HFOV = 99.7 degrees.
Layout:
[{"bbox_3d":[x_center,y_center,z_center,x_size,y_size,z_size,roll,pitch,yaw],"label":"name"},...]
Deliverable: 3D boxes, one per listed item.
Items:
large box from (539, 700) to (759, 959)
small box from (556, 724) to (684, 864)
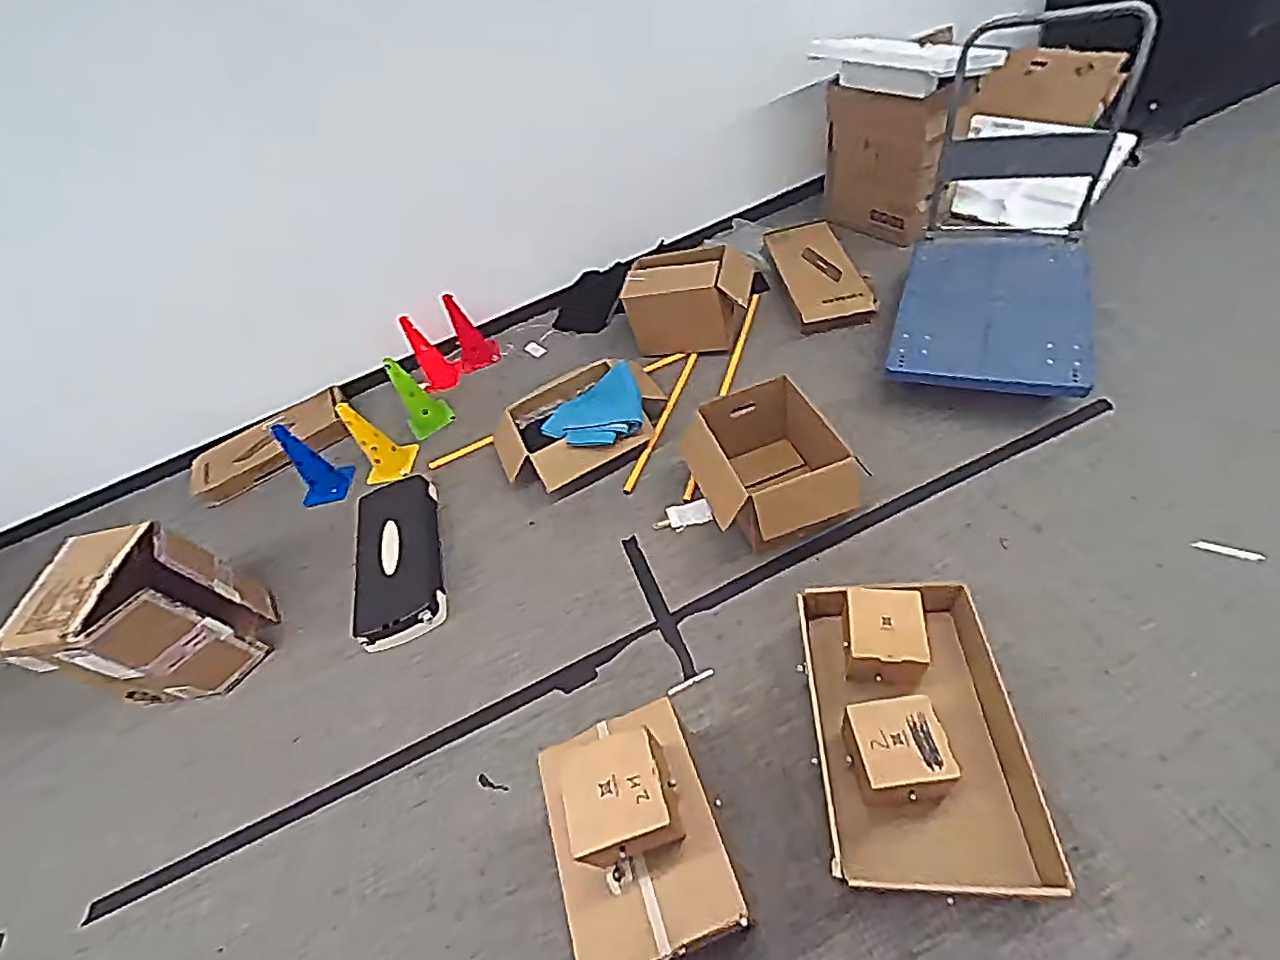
[{"bbox_3d":[0.020,0.760,1.155,0.320,0.320,0.408,-24,50,-2],"label":"large box"},{"bbox_3d":[-0.034,0.580,0.991,0.179,0.176,0.168,-19,49,-1],"label":"small box"}]
